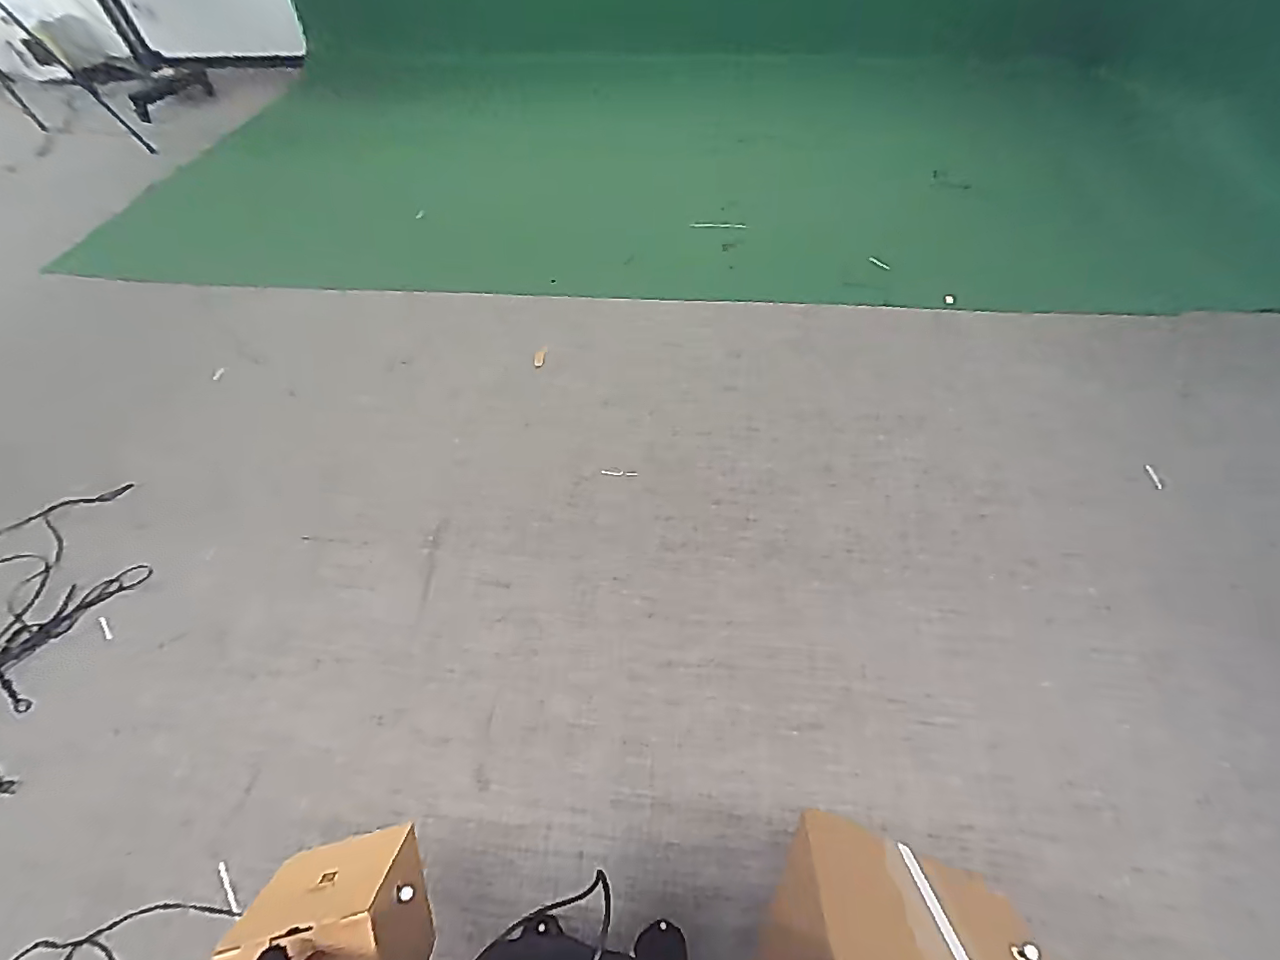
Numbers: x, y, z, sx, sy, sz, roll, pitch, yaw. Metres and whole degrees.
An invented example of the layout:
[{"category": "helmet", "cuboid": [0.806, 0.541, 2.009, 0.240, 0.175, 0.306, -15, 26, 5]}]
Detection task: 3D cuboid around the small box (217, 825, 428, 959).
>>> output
[{"category": "small box", "cuboid": [-0.376, 0.582, 0.674, 0.168, 0.179, 0.176, -12, 89, -8]}]
